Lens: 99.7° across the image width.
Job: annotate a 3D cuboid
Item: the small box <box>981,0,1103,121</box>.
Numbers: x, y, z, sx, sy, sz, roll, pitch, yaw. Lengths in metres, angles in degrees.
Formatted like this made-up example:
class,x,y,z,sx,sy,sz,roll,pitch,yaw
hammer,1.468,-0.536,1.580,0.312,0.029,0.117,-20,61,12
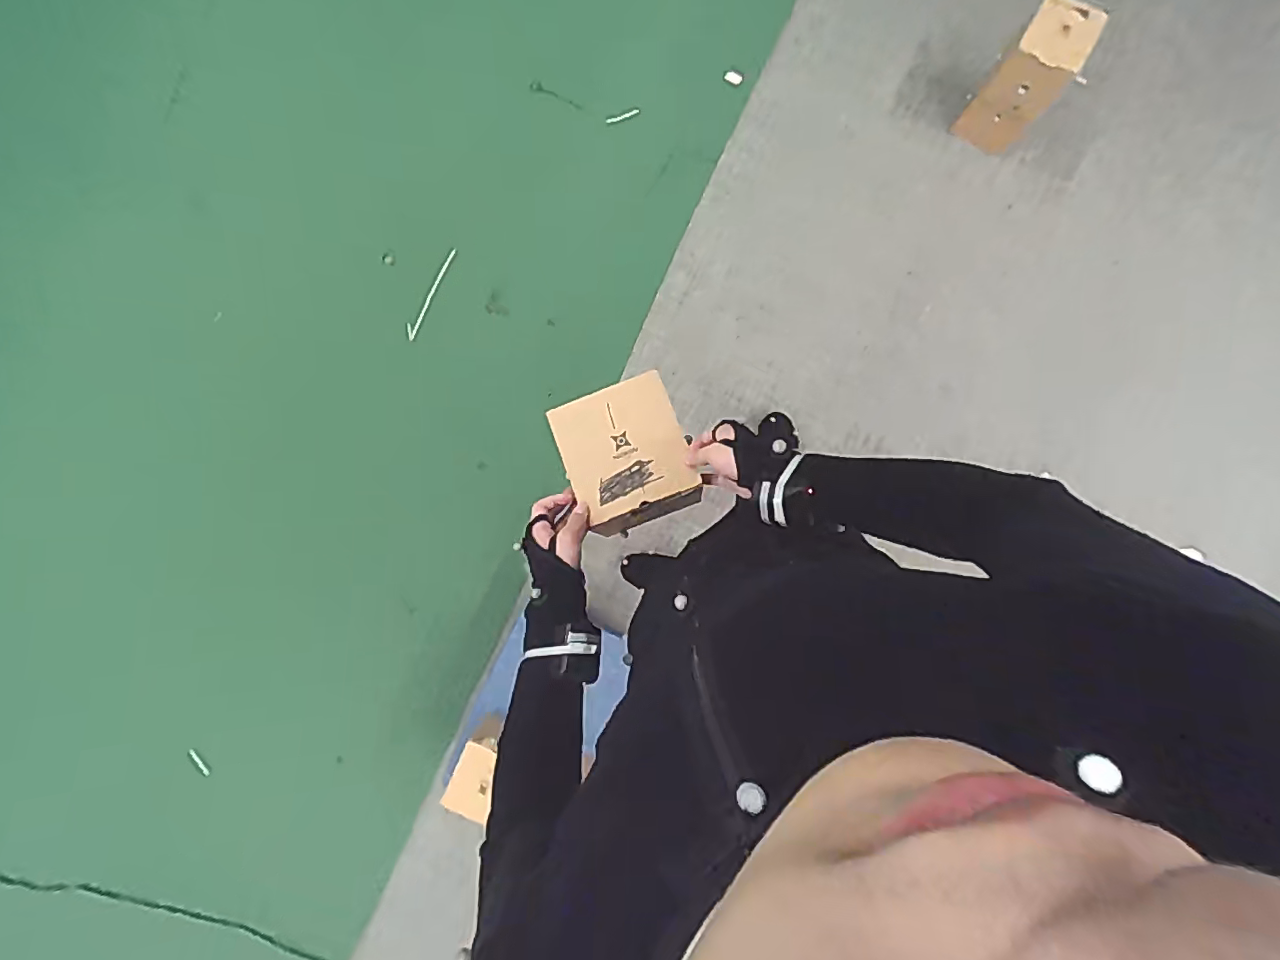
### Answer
class,x,y,z,sx,sy,sz,roll,pitch,yaw
small box,1.057,-1.113,1.442,0.168,0.176,0.179,29,90,3

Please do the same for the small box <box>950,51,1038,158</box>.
class,x,y,z,sx,sy,sz,roll,pitch,yaw
small box,1.069,-1.106,1.606,0.179,0.176,0.168,30,89,3

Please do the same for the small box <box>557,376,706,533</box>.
class,x,y,z,sx,sy,sz,roll,pitch,yaw
small box,-0.007,-0.026,0.816,0.168,0.176,0.179,-20,78,0

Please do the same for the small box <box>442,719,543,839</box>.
class,x,y,z,sx,sy,sz,roll,pitch,yaw
small box,-0.360,0.742,1.361,0.168,0.176,0.179,24,88,1
